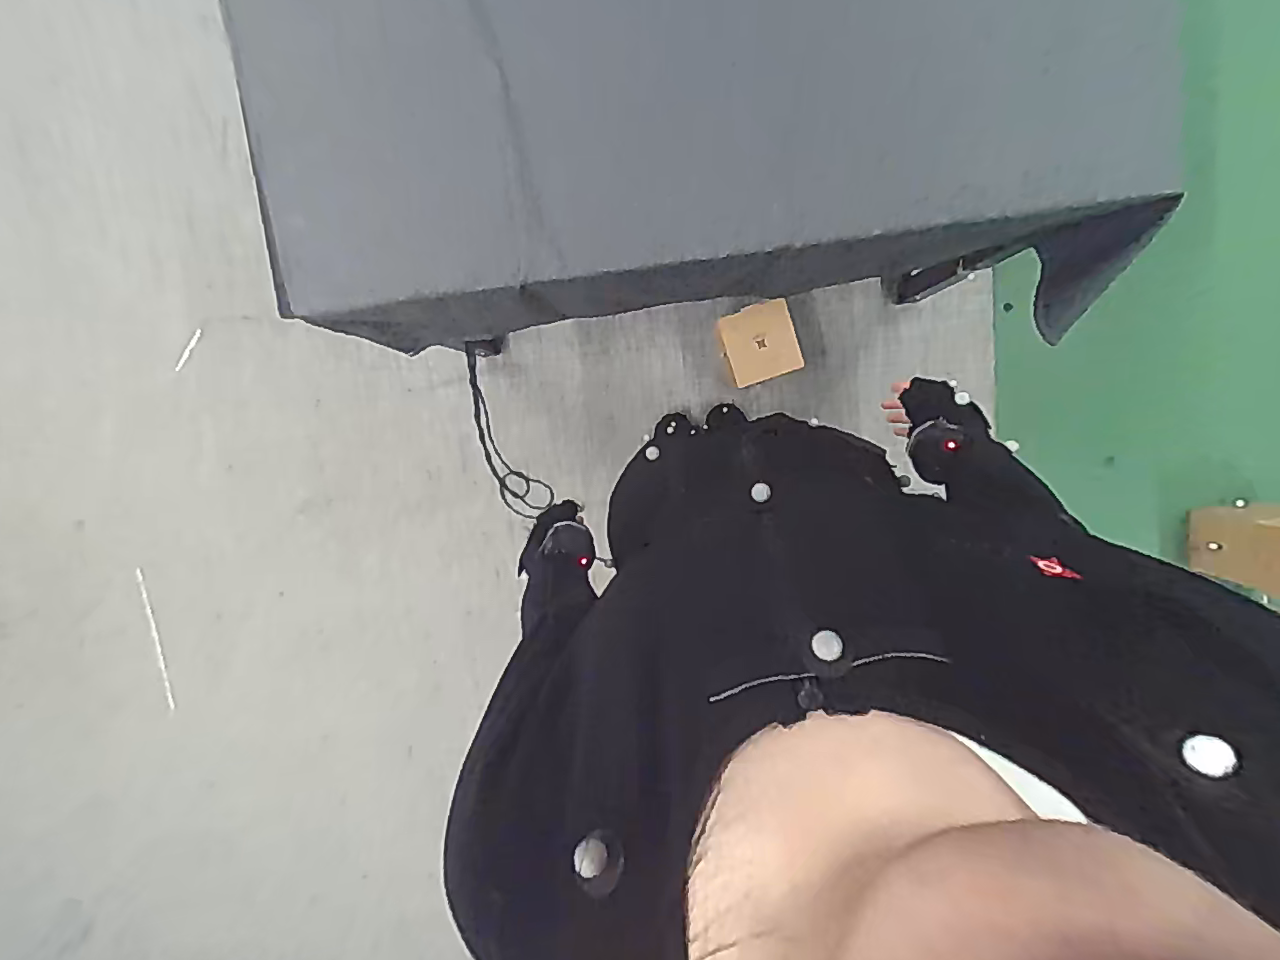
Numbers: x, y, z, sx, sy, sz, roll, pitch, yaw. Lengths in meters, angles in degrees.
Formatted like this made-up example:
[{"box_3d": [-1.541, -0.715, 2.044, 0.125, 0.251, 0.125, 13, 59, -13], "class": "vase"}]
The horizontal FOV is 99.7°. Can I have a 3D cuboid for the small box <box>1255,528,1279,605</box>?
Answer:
[{"box_3d": [1.493, 0.194, 1.161, 0.168, 0.176, 0.179, -8, 96, 5], "class": "small box"}]

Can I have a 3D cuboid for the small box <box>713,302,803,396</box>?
[{"box_3d": [0.288, -0.320, 1.357, 0.168, 0.176, 0.179, -18, 94, 6], "class": "small box"}]
